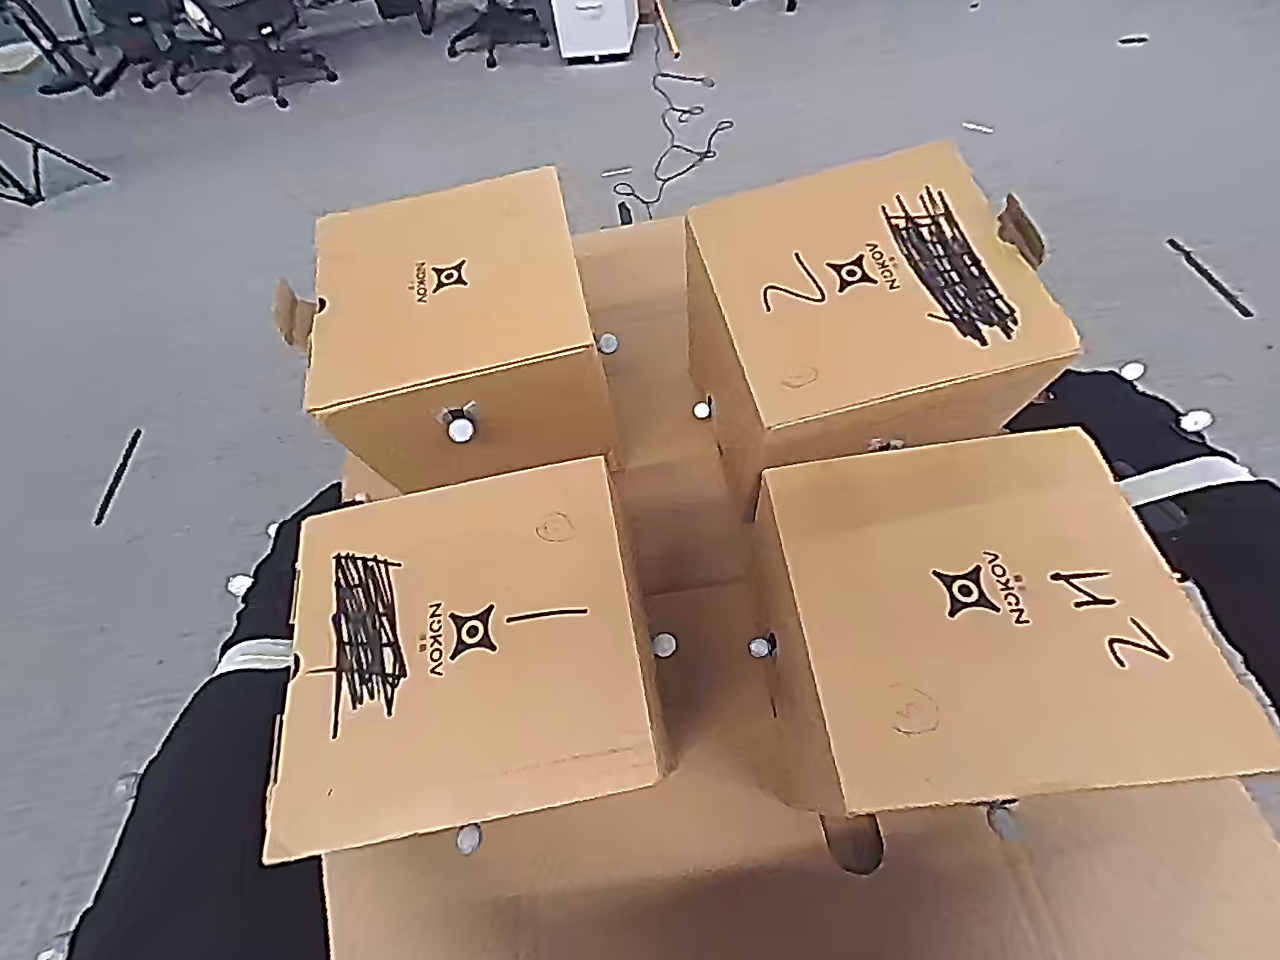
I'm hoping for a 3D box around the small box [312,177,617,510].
[{"bbox_3d":[-0.120,-0.093,0.428,0.179,0.176,0.168,-14,64,1],"label":"small box"}]
